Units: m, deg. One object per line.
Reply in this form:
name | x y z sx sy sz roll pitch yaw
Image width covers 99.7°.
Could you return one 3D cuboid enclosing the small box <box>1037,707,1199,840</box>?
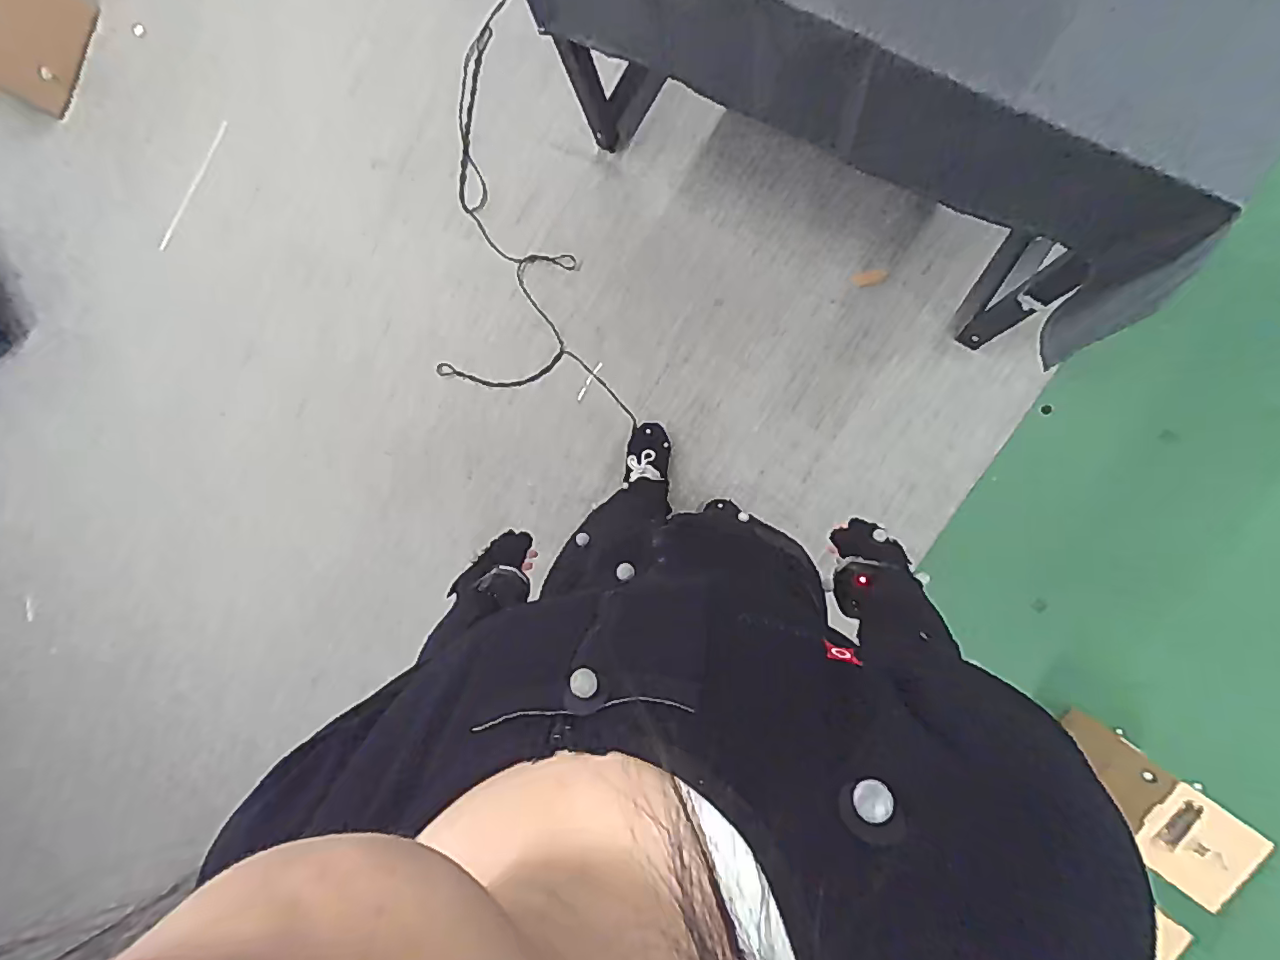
small box | 1.053 0.641 1.213 0.179 0.176 0.168 38 96 9
